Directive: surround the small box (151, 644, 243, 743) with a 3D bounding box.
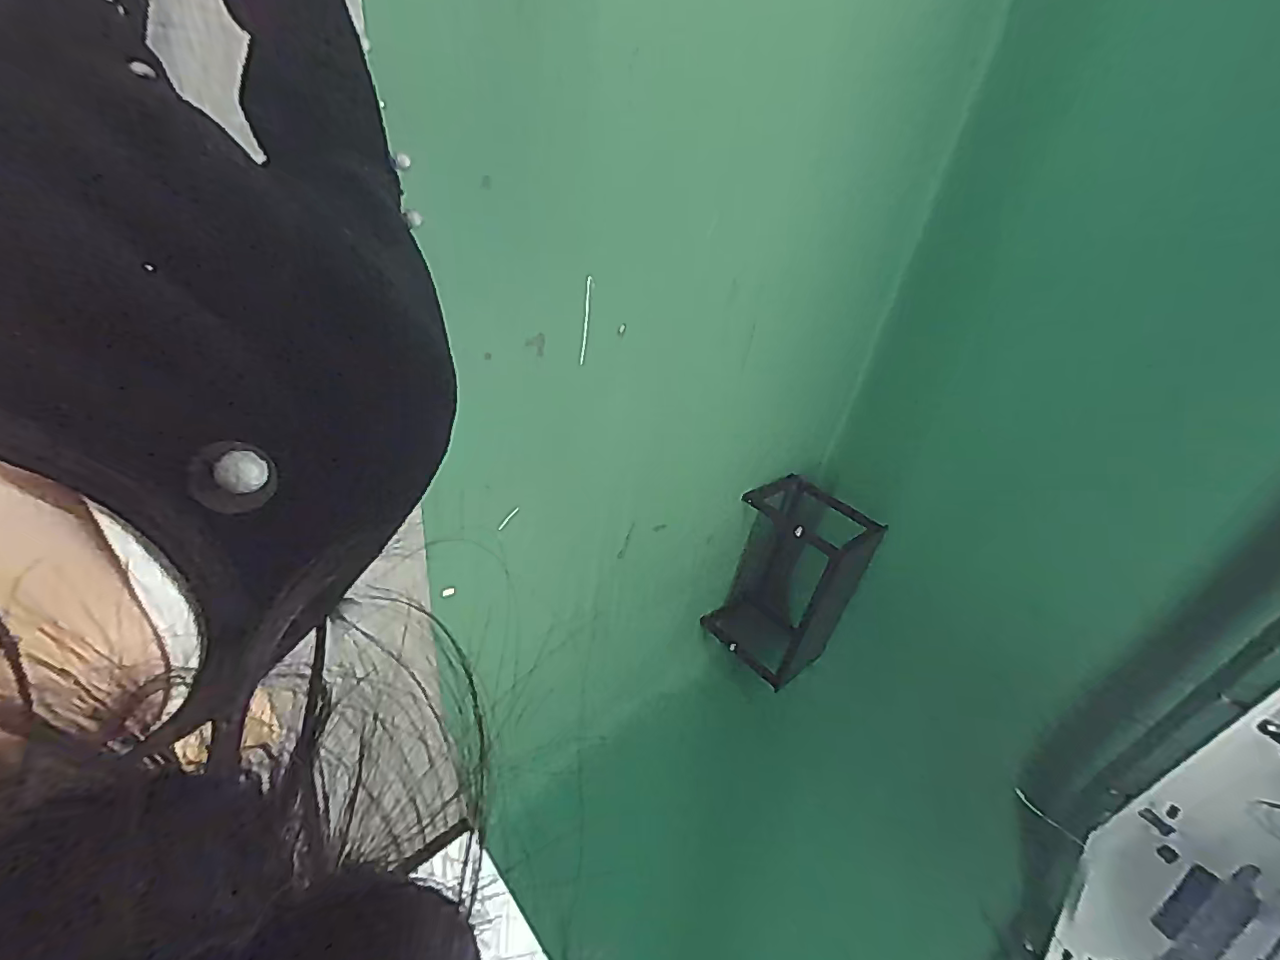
[{"bbox_3d":[-1.265,0.597,1.543,0.168,0.176,0.179,-16,131,-41],"label":"small box"}]
